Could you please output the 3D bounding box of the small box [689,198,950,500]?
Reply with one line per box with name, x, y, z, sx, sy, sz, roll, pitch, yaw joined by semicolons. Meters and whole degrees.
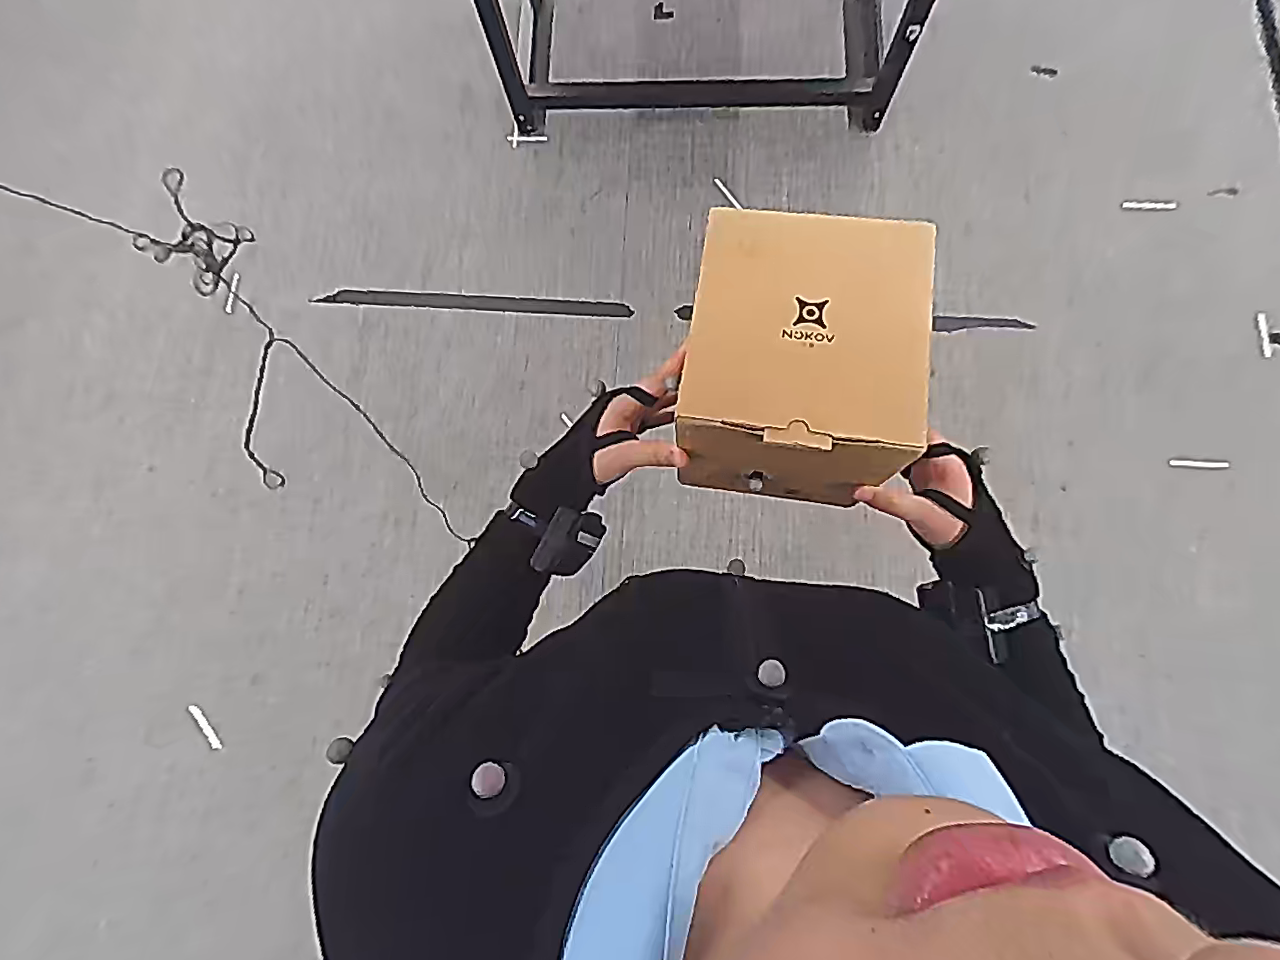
small box;0.132;-0.095;0.449;0.168;0.176;0.179;8;76;7
